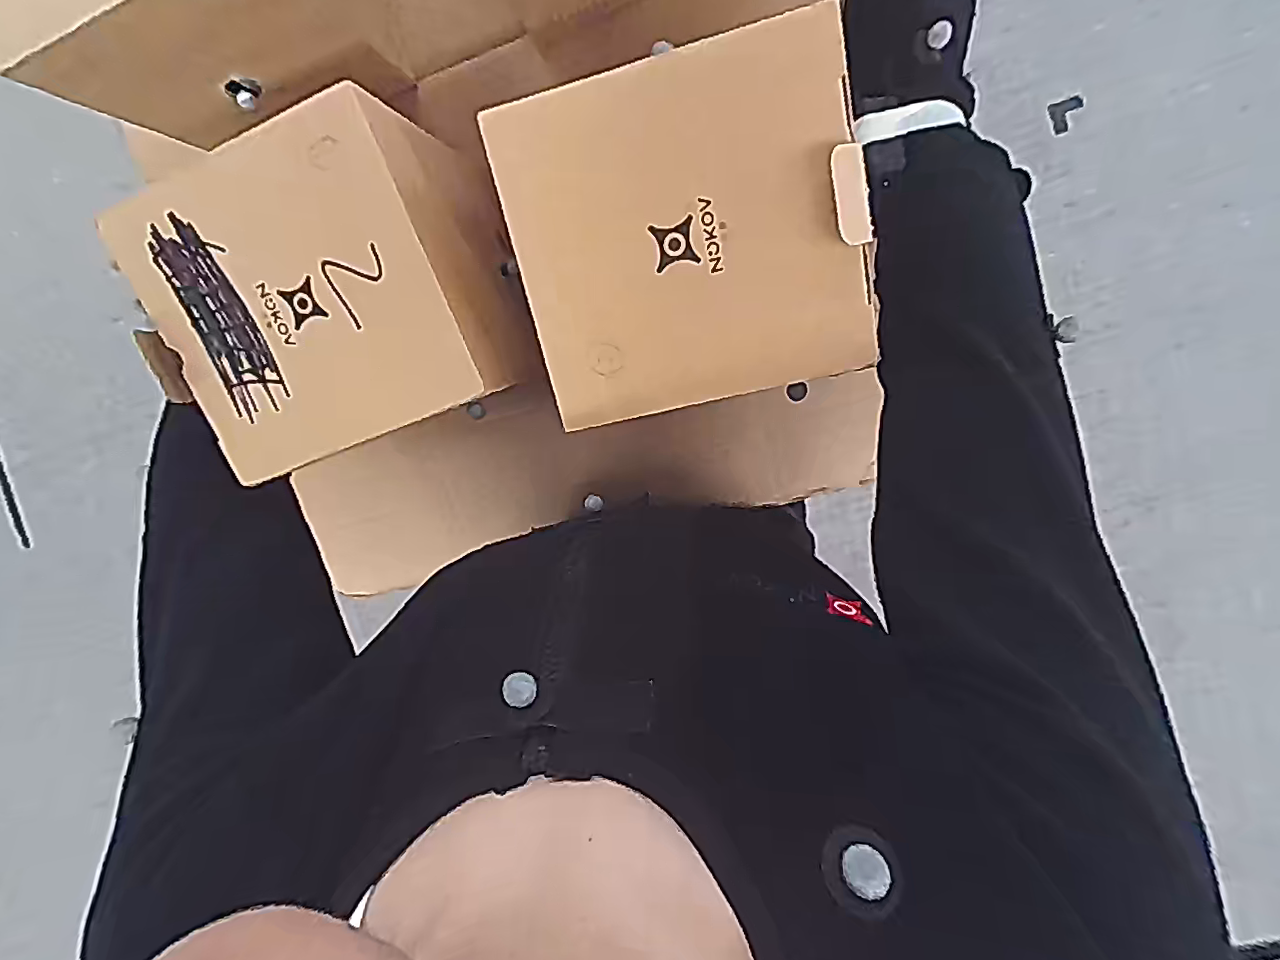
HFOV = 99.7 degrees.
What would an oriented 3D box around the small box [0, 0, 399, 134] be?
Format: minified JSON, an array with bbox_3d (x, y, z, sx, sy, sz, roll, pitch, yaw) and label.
[{"bbox_3d":[-0.286,-0.347,0.335,0.168,0.176,0.179,-15,102,10],"label":"small box"}]
